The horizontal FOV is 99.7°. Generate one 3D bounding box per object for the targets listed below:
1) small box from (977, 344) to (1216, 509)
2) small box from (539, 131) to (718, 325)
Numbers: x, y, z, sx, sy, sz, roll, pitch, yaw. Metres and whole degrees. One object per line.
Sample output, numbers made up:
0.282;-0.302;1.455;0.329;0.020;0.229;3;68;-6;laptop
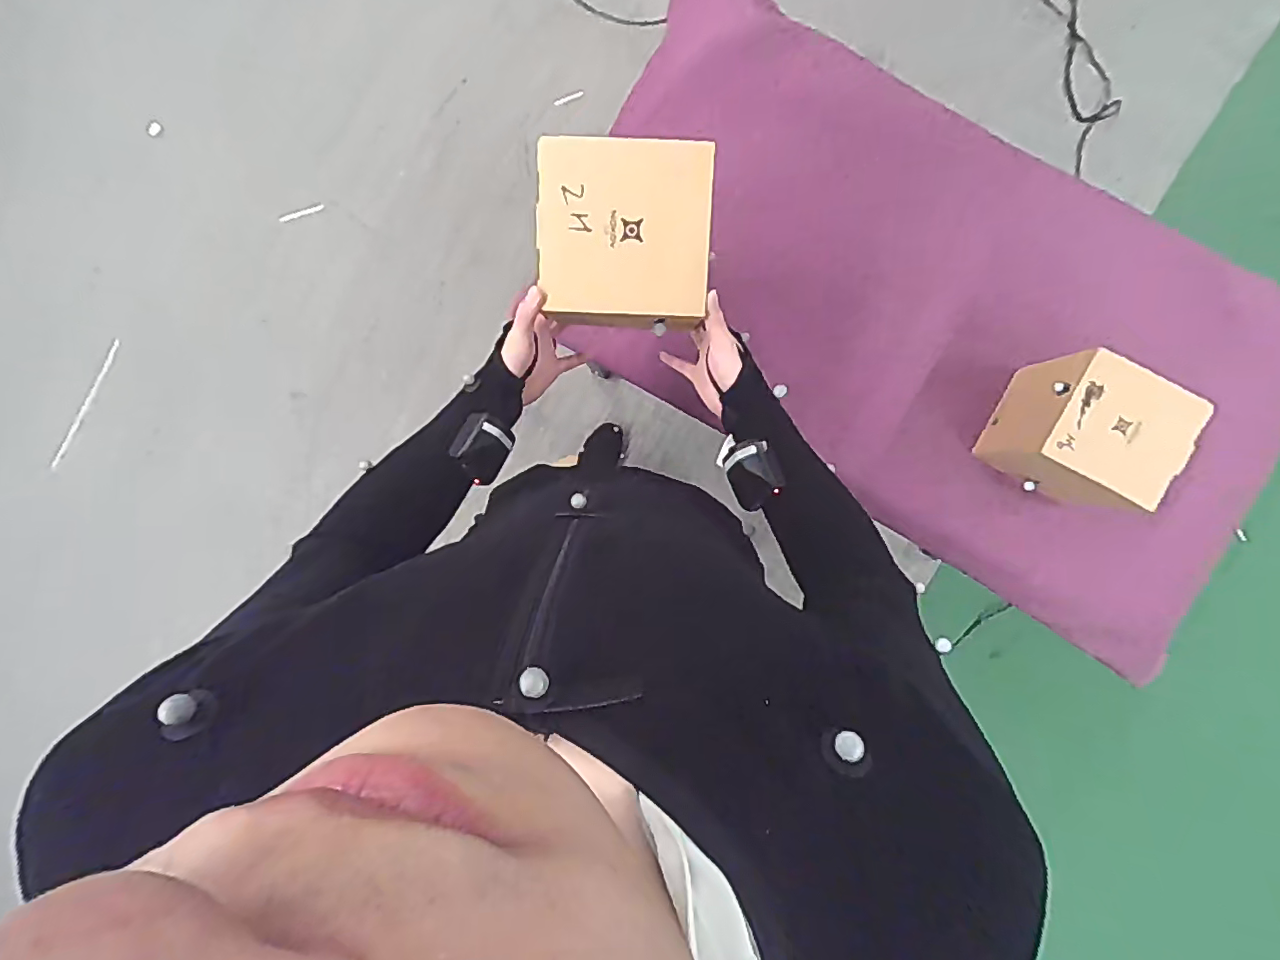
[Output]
0.660;-0.076;0.806;0.179;0.176;0.168;29;93;1;small box
-0.013;-0.272;0.620;0.179;0.176;0.168;3;101;1;small box
